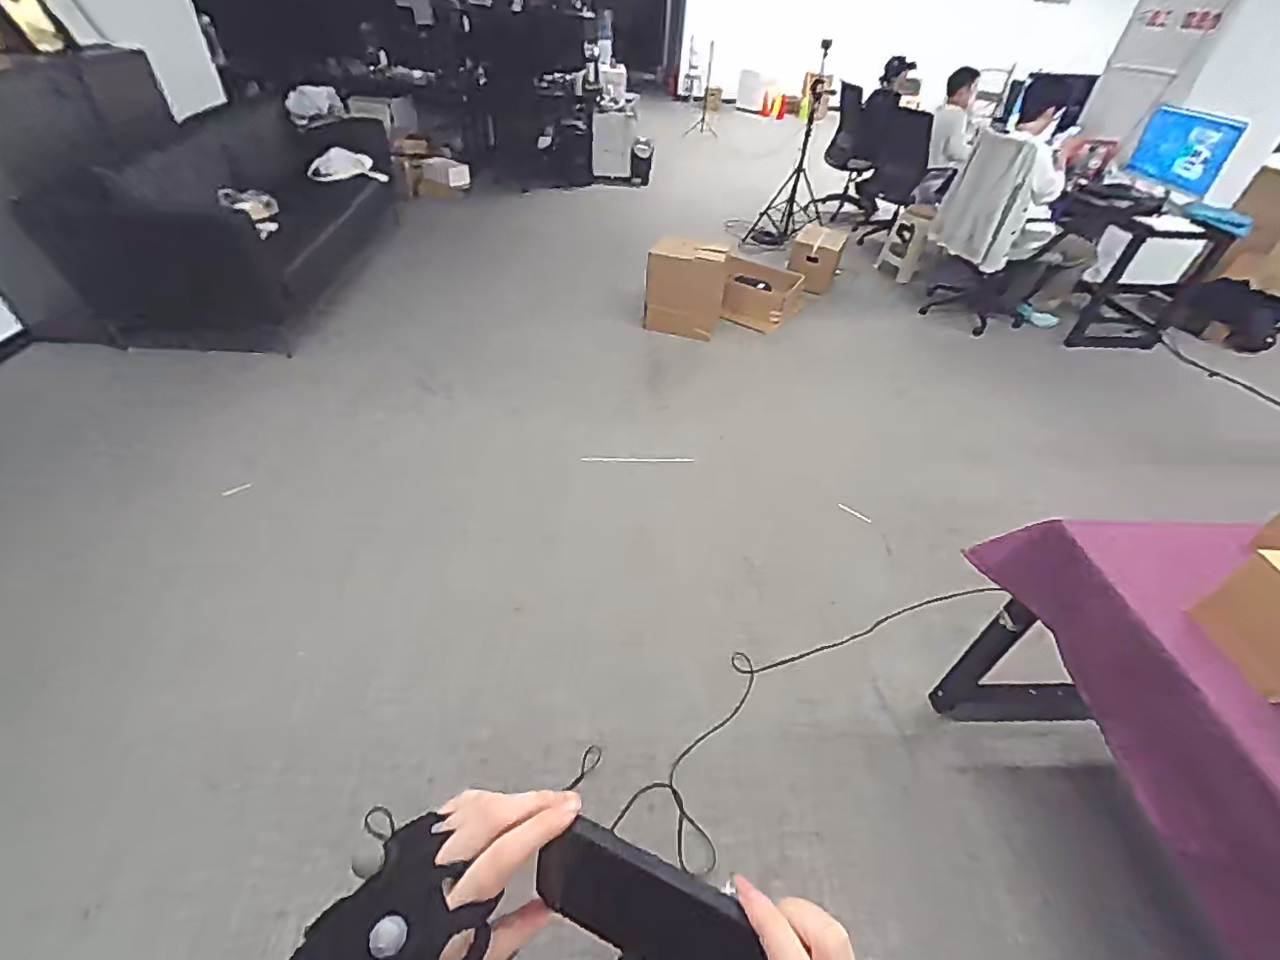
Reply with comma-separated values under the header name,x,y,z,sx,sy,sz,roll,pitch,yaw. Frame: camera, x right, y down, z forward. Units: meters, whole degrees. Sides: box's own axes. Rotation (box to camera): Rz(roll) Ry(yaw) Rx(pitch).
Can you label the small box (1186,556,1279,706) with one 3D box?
name,x,y,z,sx,sy,sz,roll,pitch,yaw
small box,1.068,0.245,0.871,0.168,0.176,0.179,3,43,-3
